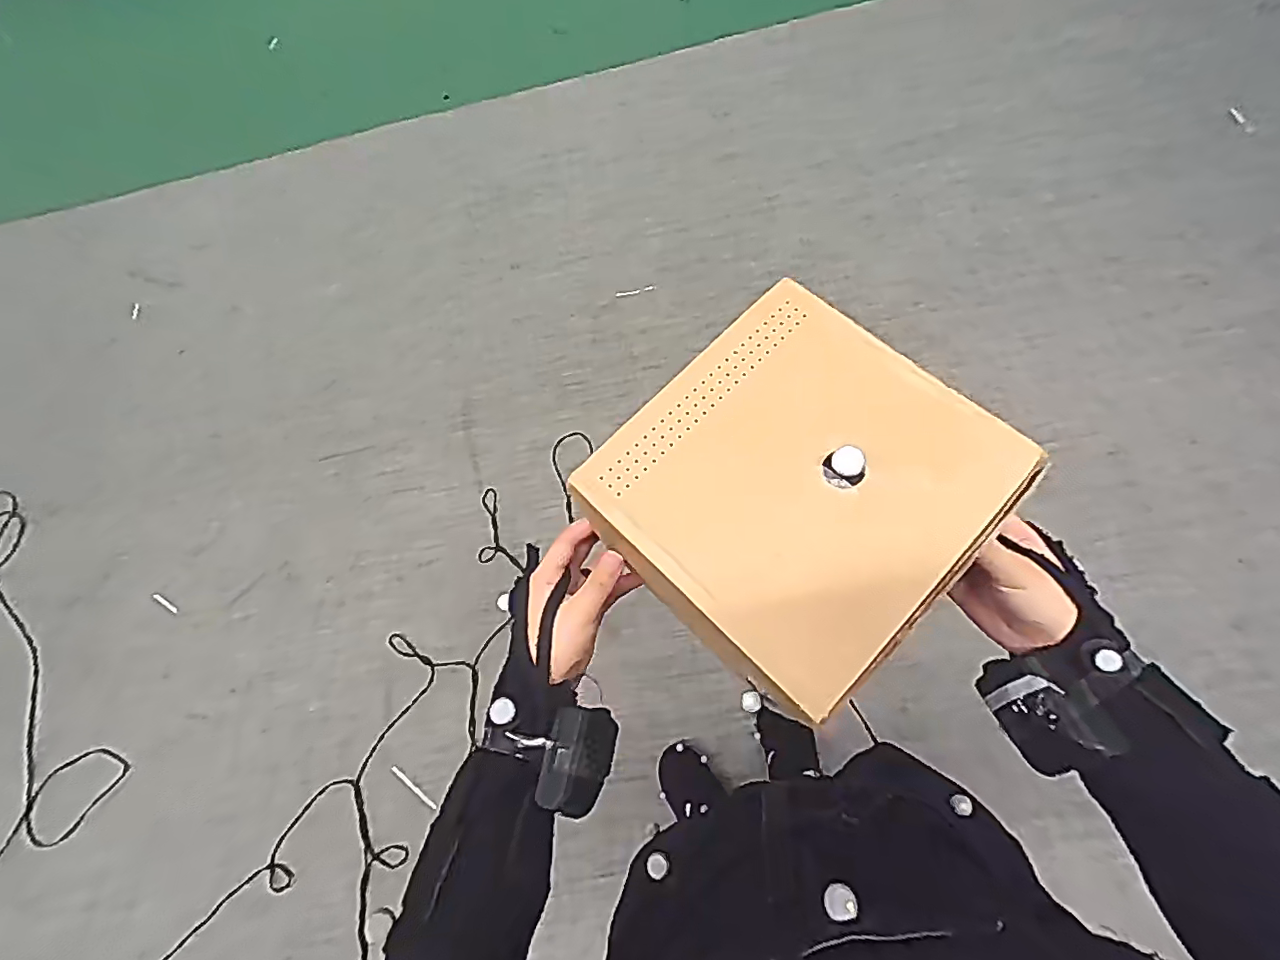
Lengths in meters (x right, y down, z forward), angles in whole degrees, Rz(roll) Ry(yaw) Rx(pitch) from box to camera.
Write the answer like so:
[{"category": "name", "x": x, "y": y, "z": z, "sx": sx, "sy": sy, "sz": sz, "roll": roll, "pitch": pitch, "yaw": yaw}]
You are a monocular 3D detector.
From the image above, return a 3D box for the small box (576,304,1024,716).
[{"category": "small box", "x": 0.086, "y": 0.022, "z": 0.356, "sx": 0.176, "sy": 0.168, "sz": 0.179, "roll": 42, "pitch": 78, "yaw": 18}]
